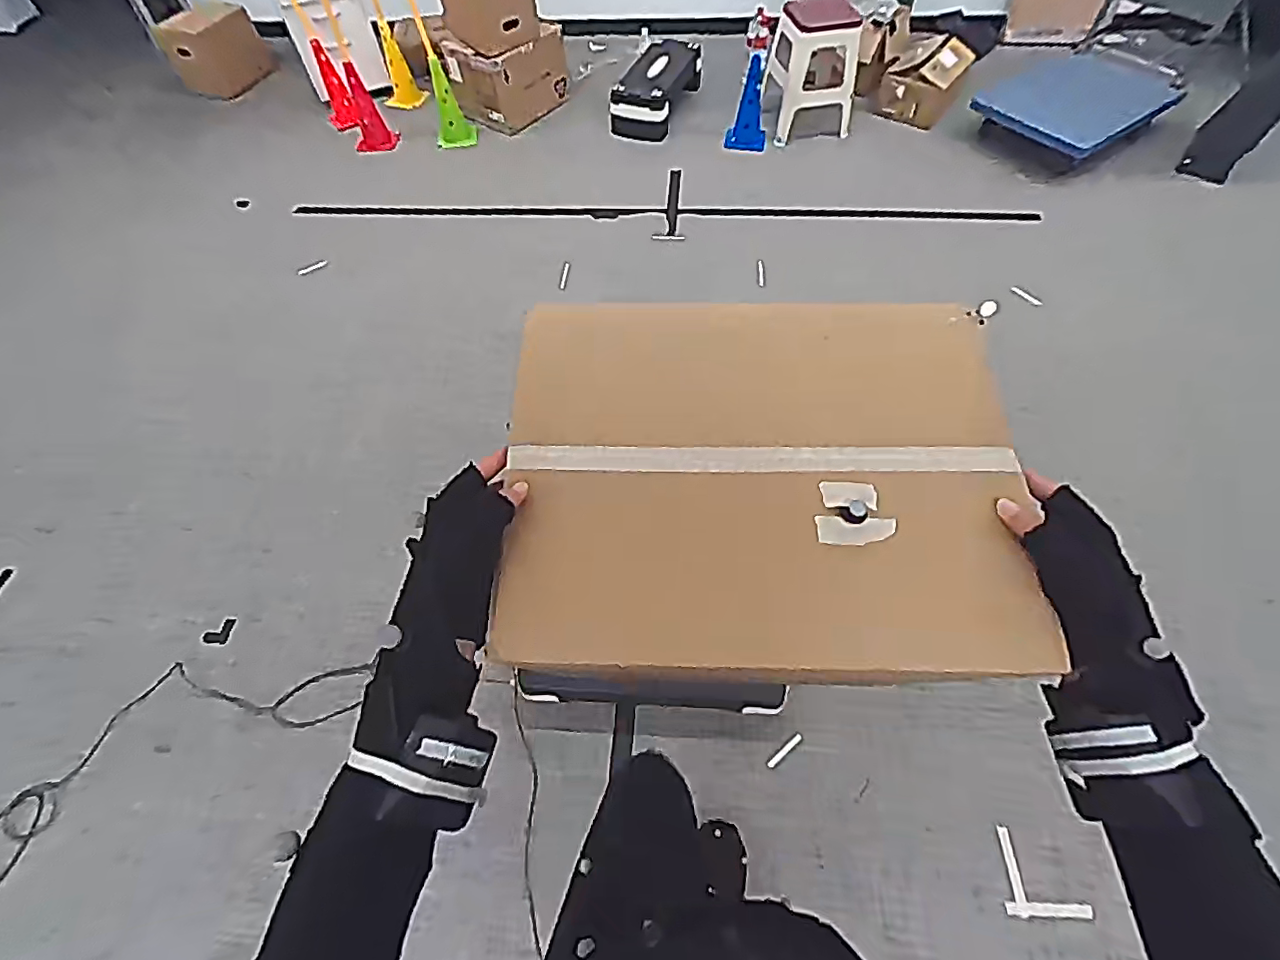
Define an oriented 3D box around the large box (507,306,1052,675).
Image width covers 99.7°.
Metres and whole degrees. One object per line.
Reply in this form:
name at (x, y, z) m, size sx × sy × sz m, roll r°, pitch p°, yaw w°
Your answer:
large box at (0.100, 0.038, 0.583) m, size 0.408 × 0.320 × 0.320 m, roll 0°, pitch 69°, yaw 1°
